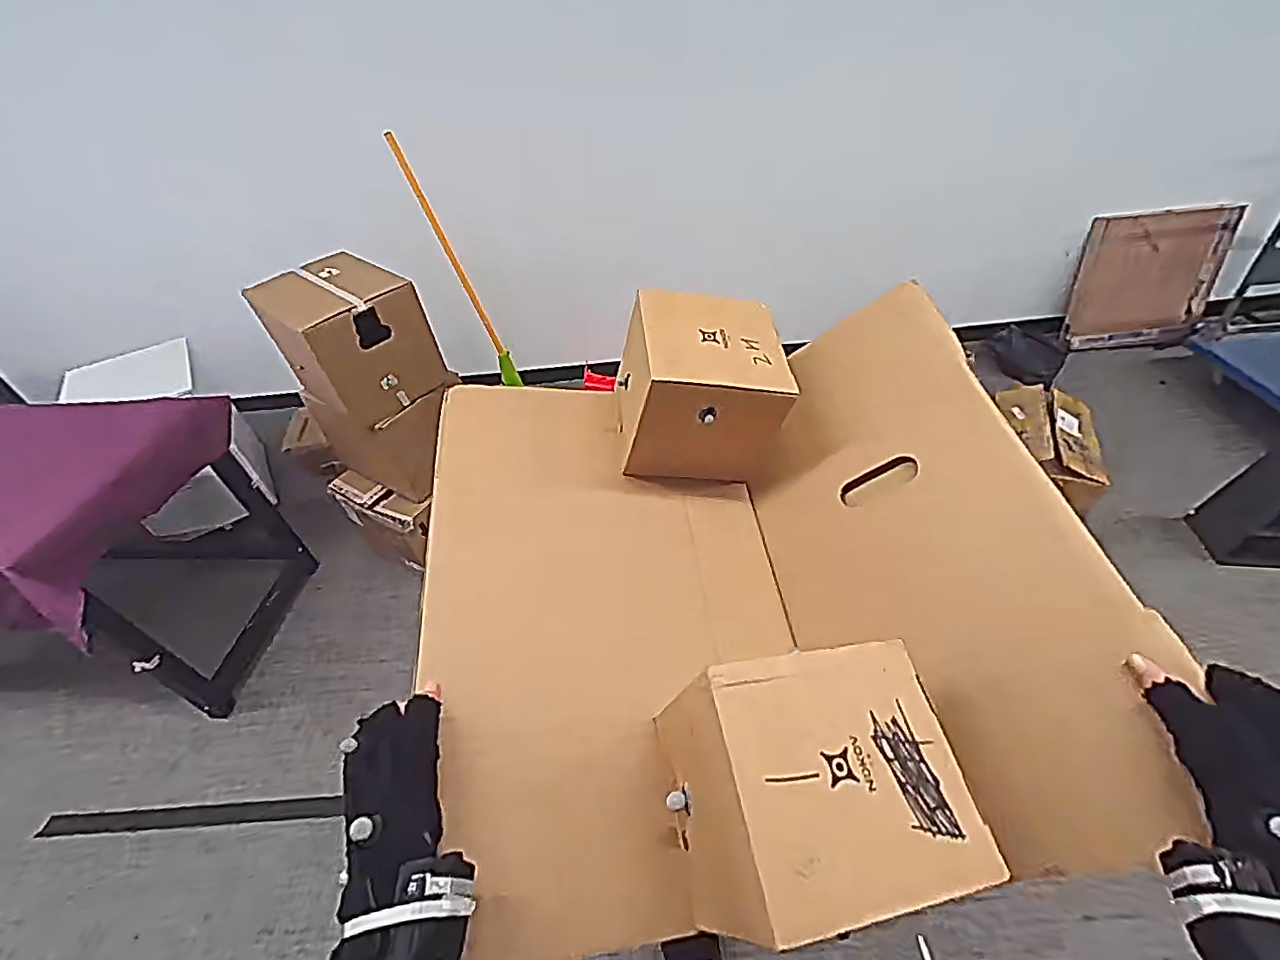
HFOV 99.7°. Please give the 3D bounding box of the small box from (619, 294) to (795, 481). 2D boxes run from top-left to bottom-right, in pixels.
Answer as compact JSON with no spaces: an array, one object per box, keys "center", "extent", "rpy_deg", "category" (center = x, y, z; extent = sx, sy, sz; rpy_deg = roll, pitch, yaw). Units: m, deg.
[{"center":[0.070,-0.112,0.701],"extent":[0.179,0.176,0.168],"rpy_deg":[4,53,-12],"category":"small box"}]
